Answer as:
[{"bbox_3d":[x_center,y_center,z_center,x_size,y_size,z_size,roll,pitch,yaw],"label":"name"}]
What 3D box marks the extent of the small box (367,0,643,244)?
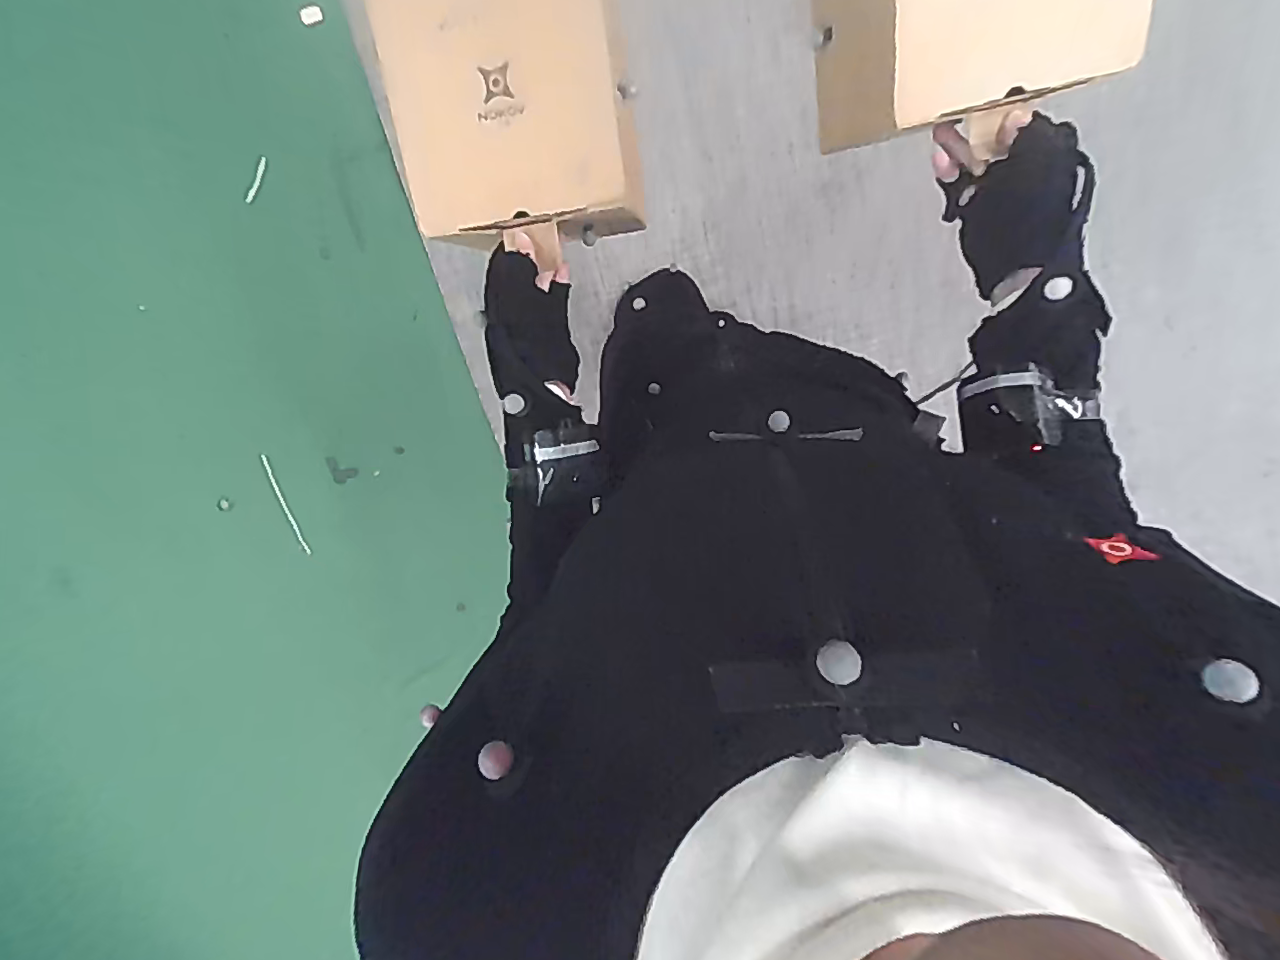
[{"bbox_3d":[-0.094,-0.310,0.465,0.168,0.176,0.179,-7,107,8],"label":"small box"}]
